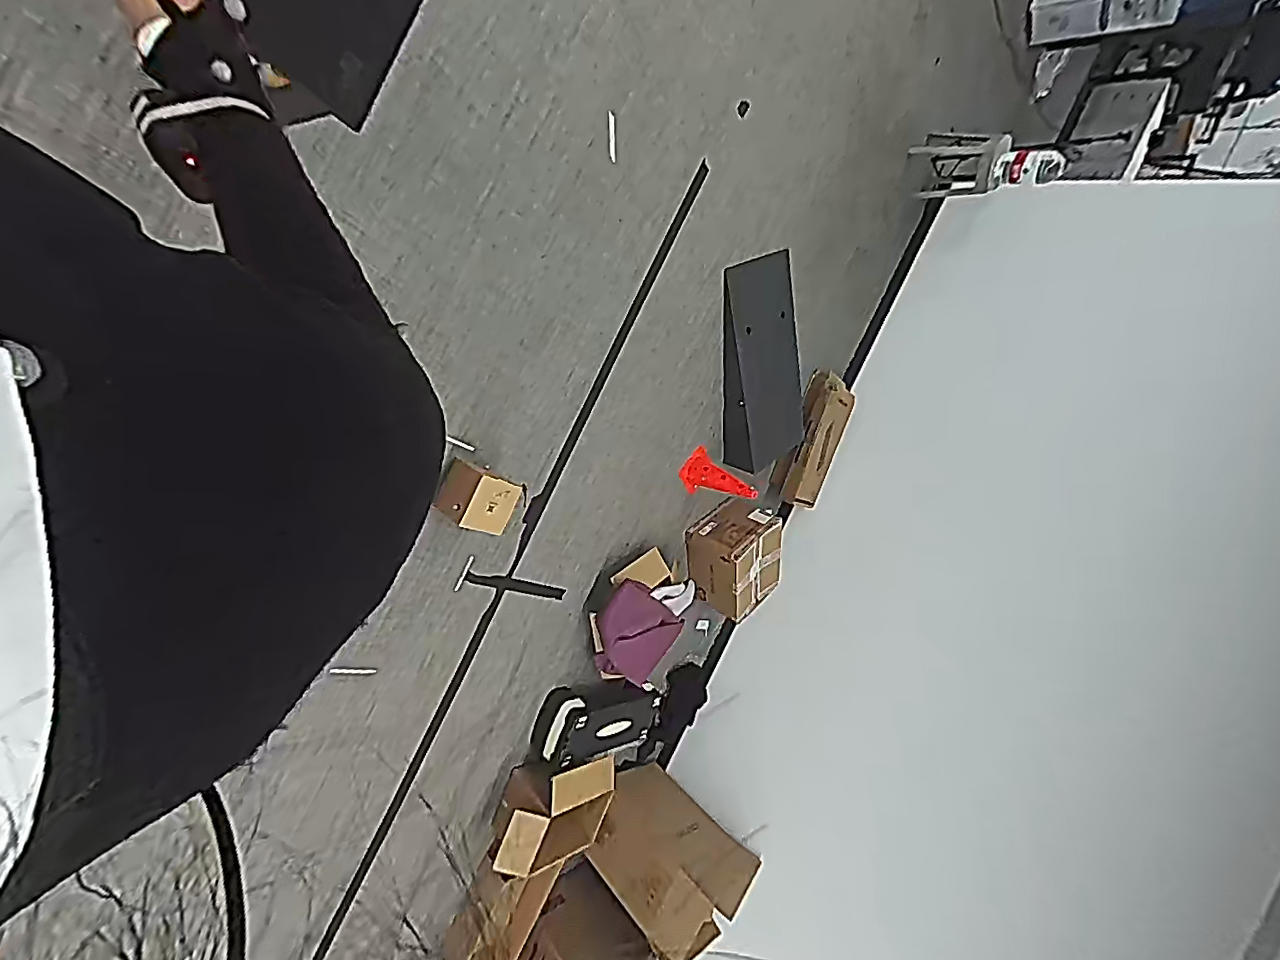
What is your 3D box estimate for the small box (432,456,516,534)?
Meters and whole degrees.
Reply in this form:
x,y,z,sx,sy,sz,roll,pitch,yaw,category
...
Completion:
x,y,z,sx,sy,sz,roll,pitch,yaw,category
-0.535,0.048,1.721,0.168,0.176,0.179,25,90,-52,small box
